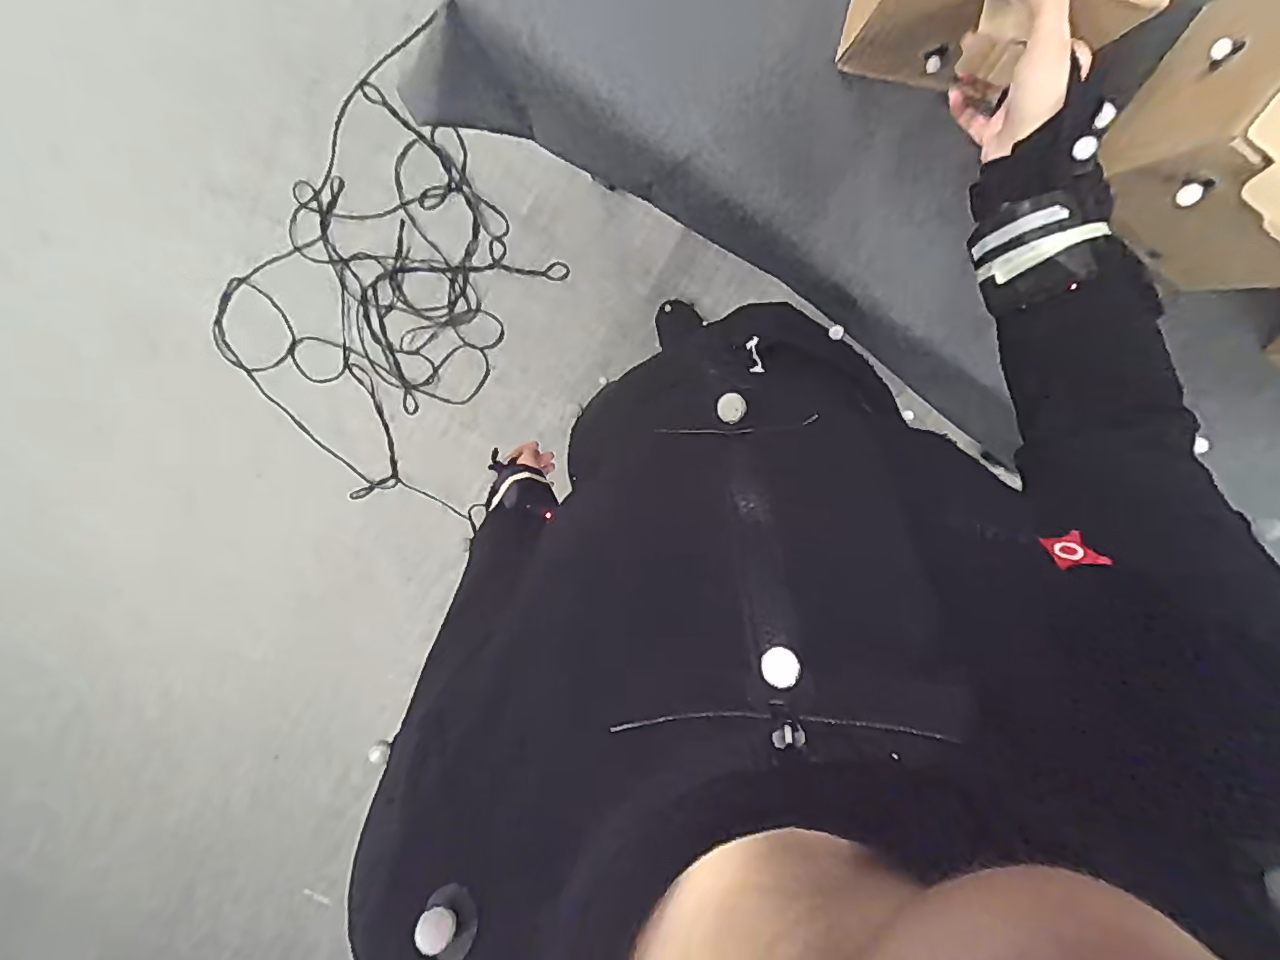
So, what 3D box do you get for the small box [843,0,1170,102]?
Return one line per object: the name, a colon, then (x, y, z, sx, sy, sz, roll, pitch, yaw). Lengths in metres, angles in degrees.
small box: (0.267, -0.412, 0.386, 0.168, 0.176, 0.179, 10, 109, -1)
